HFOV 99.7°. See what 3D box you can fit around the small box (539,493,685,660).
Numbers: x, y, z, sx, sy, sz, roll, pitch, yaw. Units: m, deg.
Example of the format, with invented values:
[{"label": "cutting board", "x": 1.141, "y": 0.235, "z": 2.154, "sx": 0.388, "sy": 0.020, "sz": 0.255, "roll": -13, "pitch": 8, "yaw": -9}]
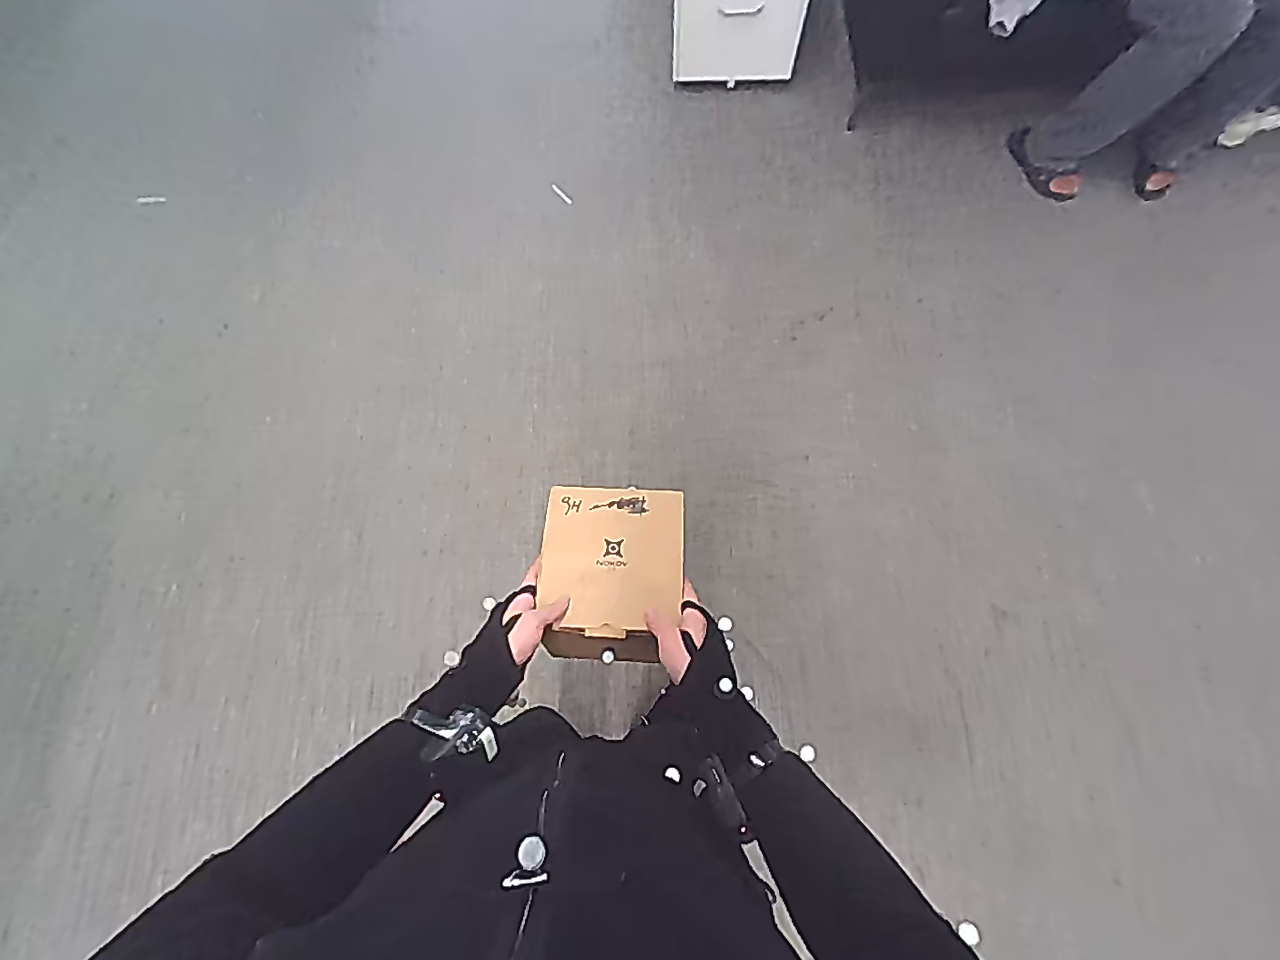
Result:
[{"label": "small box", "x": -0.028, "y": 0.132, "z": 0.704, "sx": 0.168, "sy": 0.176, "sz": 0.179, "roll": 1, "pitch": 61, "yaw": 0}]
